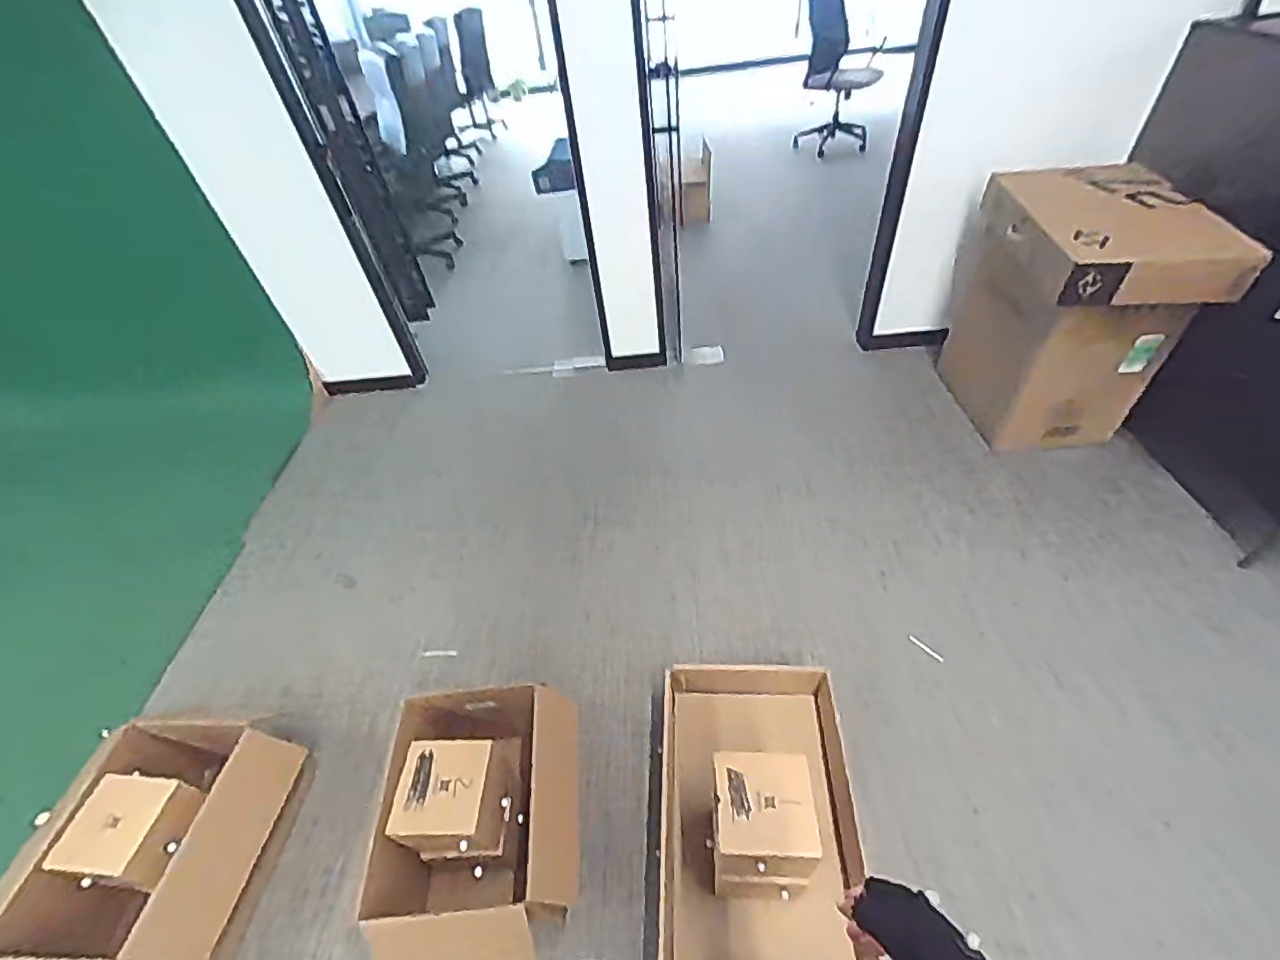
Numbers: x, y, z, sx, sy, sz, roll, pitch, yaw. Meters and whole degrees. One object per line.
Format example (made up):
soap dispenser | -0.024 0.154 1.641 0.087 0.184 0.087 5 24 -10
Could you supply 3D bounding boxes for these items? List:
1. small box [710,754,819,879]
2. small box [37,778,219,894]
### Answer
small box | 0.224 0.637 1.022 0.179 0.176 0.168 -1 43 4
small box | -1.037 0.738 1.118 0.179 0.176 0.168 0 45 6
